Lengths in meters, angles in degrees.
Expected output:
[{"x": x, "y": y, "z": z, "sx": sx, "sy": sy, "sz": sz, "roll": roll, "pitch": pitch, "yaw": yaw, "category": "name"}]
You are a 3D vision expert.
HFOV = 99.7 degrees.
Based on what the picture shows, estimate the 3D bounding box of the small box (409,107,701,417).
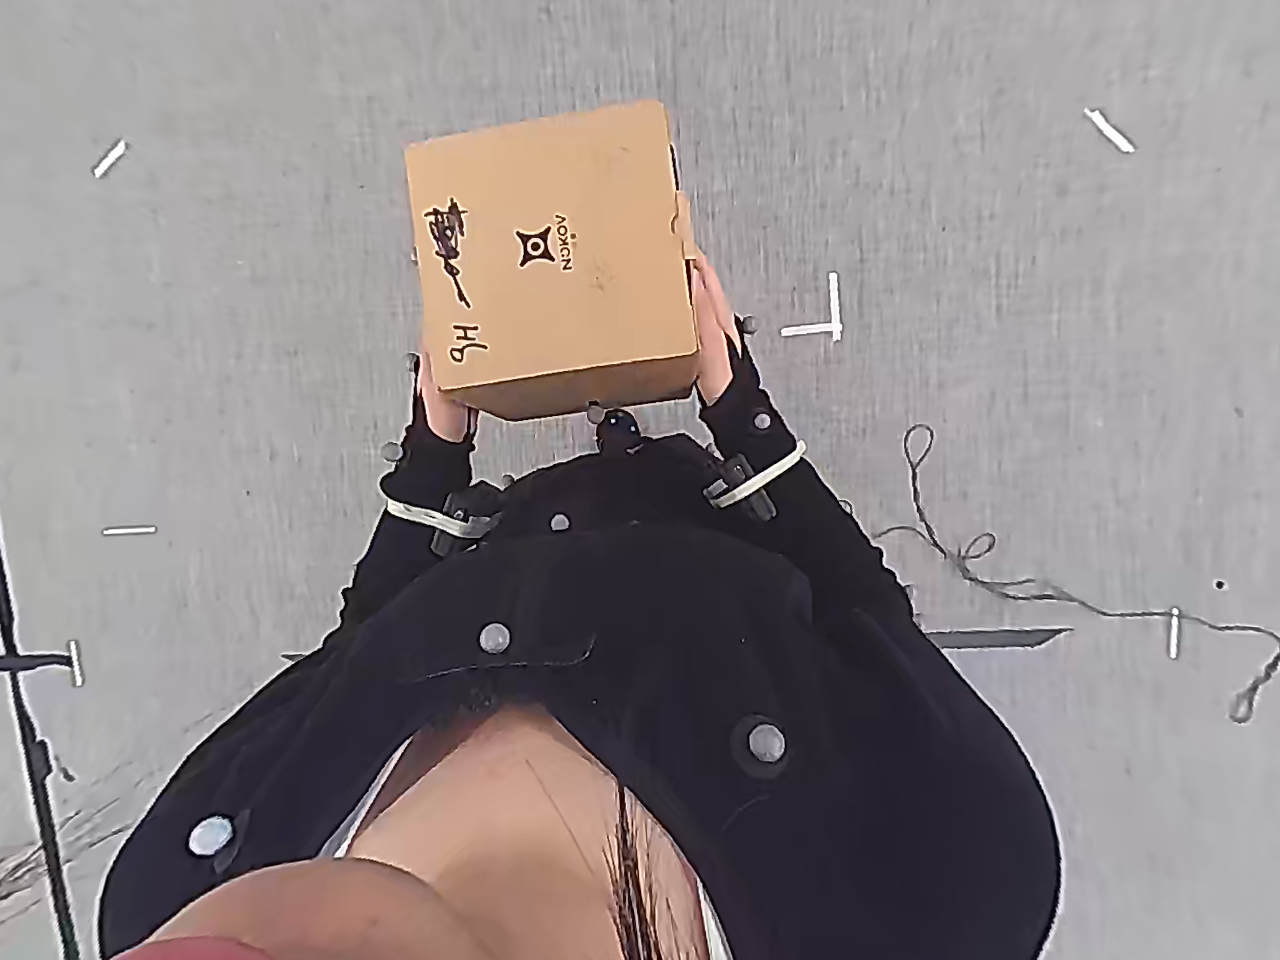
[{"x": -0.054, "y": -0.148, "z": 0.427, "sx": 0.179, "sy": 0.176, "sz": 0.168, "roll": -7, "pitch": 89, "yaw": 2, "category": "small box"}]
